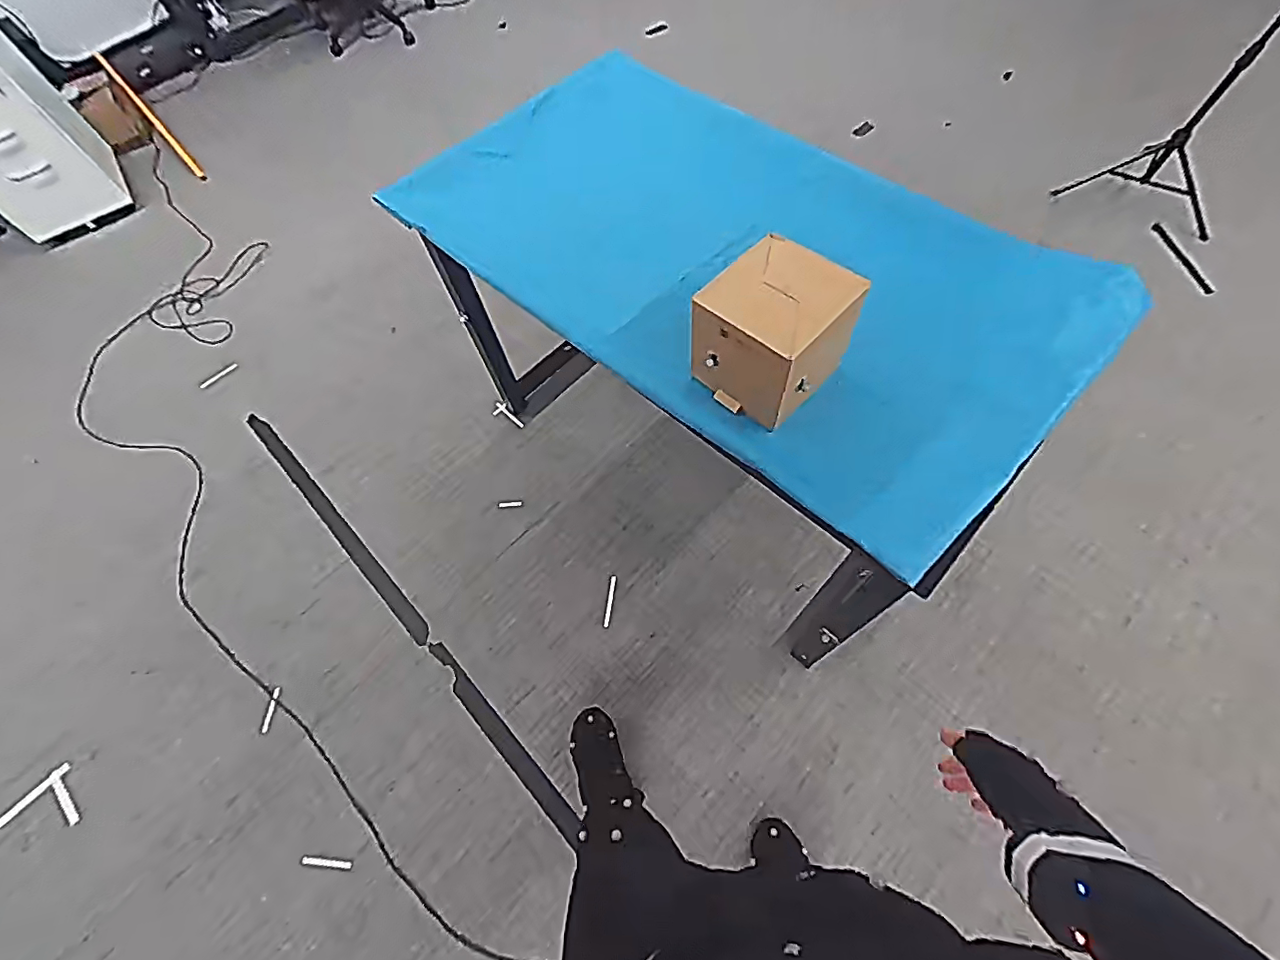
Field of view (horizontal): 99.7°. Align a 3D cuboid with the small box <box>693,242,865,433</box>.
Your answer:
[{"bbox_3d":[0.193,-0.208,0.789,0.168,0.176,0.179,39,71,21],"label":"small box"}]
